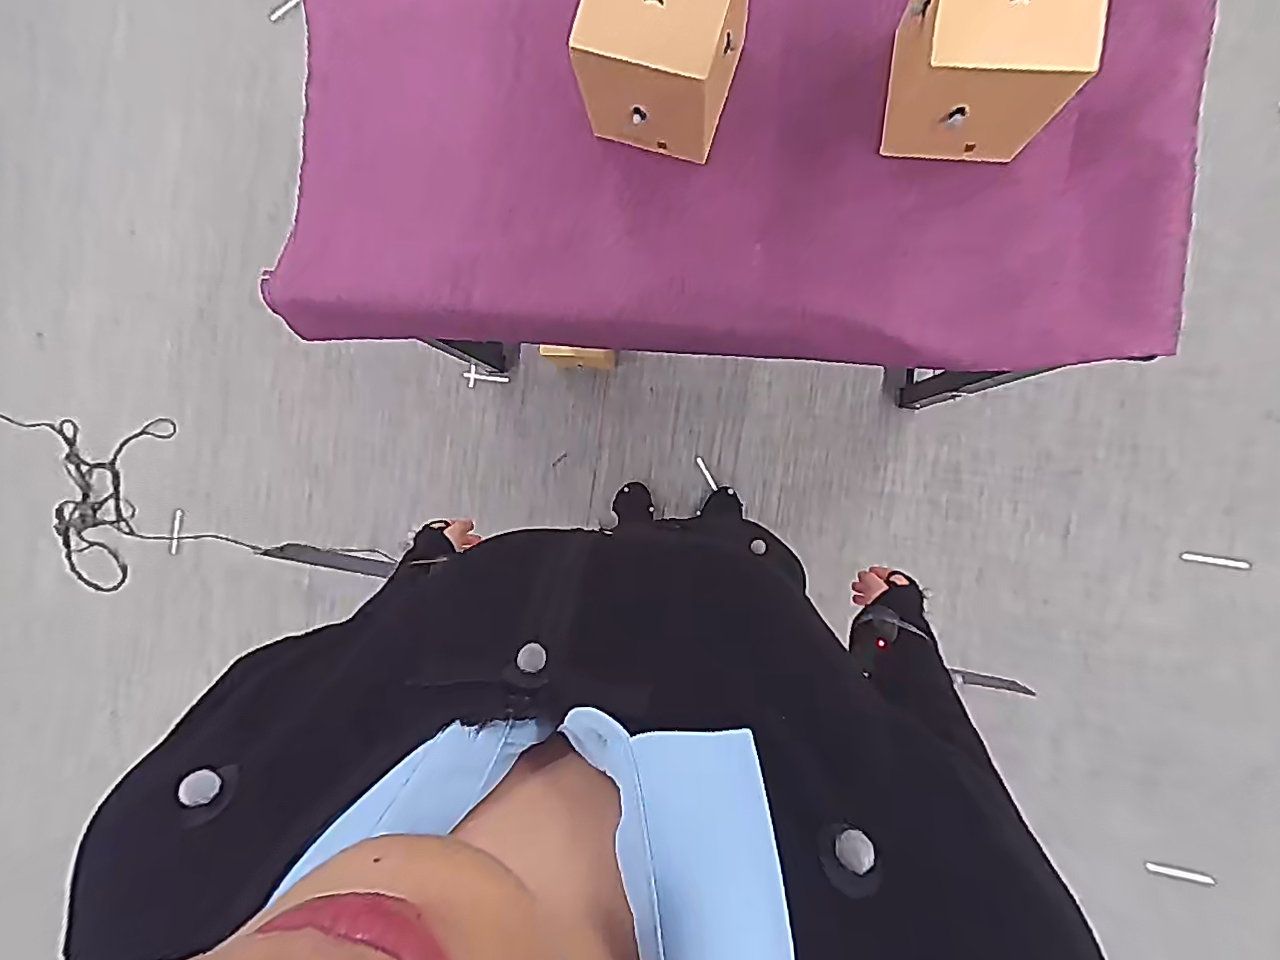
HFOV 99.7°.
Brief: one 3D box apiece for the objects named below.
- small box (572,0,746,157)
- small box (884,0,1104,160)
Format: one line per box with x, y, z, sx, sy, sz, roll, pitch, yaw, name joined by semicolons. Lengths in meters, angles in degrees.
0.033;-0.549;0.679;0.168;0.176;0.179;19;92;5;small box
0.407;-0.513;0.643;0.168;0.176;0.179;8;91;7;small box
